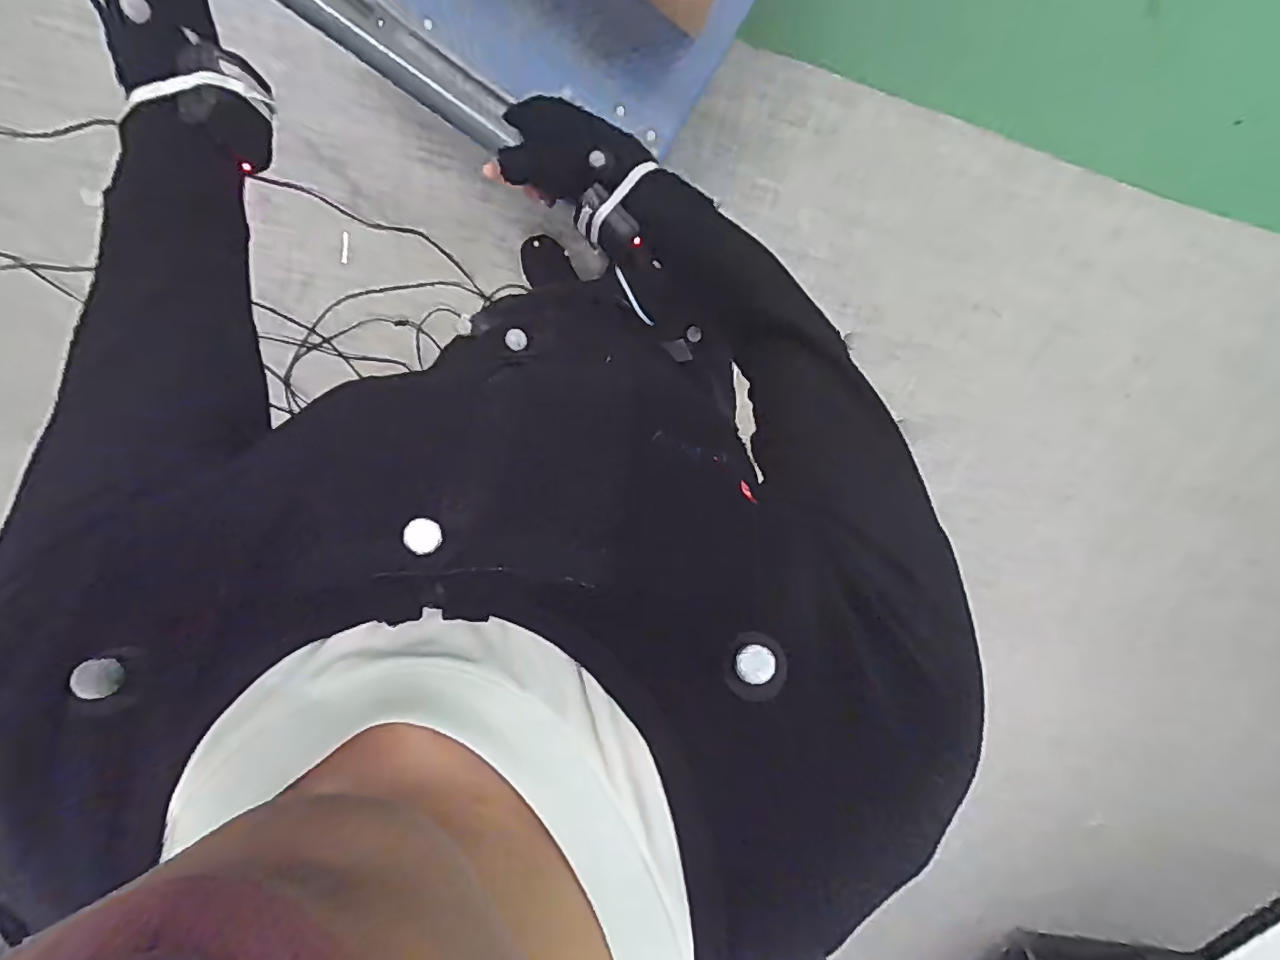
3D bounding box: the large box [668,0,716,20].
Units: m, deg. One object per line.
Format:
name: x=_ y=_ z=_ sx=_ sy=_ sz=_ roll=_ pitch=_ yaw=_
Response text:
large box: x=0.015 y=-0.941 z=0.728 sx=0.408 sy=0.320 sz=0.320 roll=28 pitch=115 yaw=-15
